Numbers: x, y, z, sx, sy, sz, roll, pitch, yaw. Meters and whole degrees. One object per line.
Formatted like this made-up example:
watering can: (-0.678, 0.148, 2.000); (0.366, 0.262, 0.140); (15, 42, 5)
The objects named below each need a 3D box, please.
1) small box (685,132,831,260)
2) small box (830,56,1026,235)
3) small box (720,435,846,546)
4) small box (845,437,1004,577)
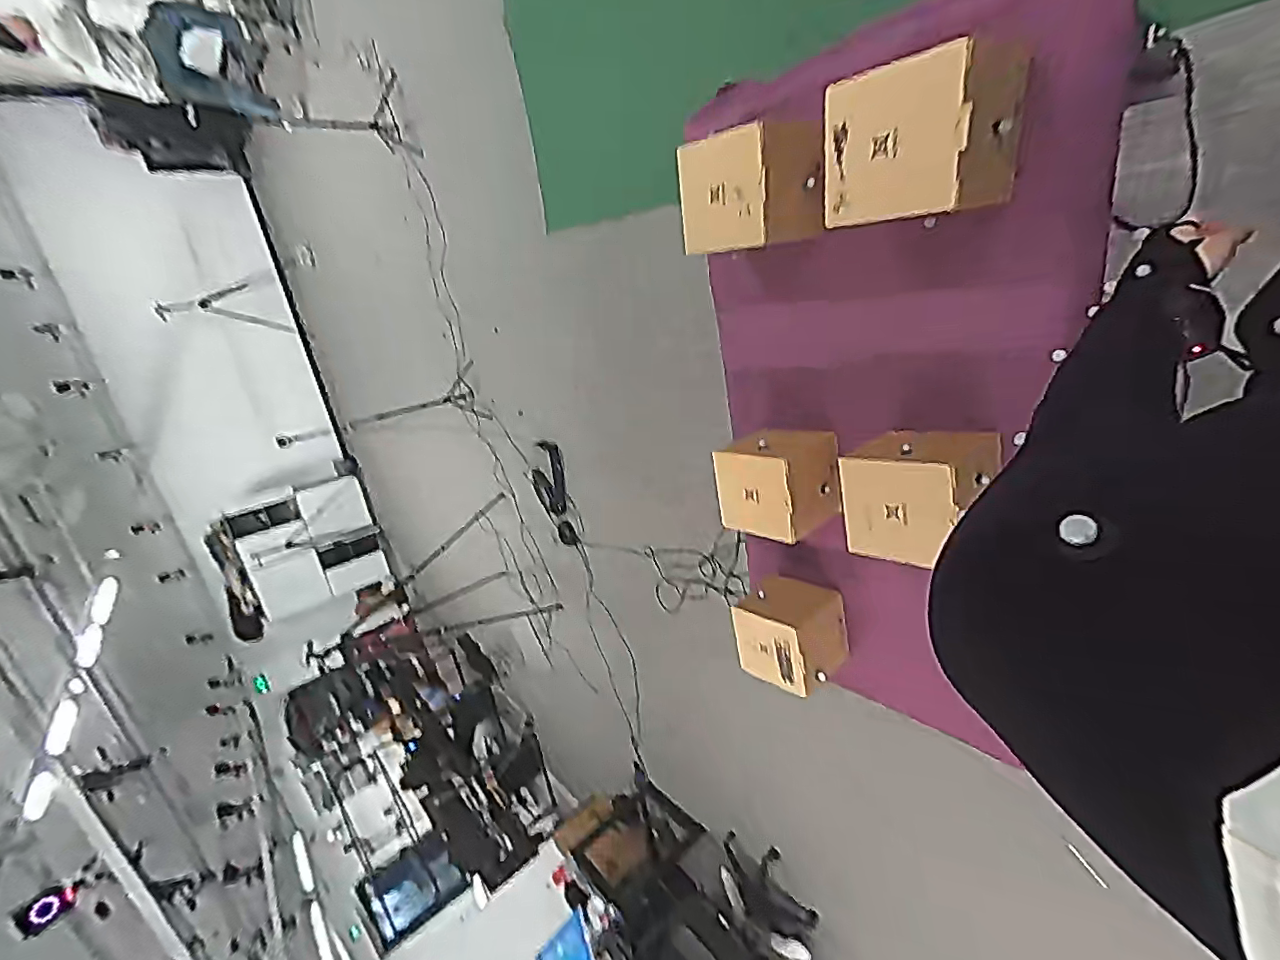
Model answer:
small box: (0.200, -0.475, 0.922); (0.179, 0.176, 0.168); (18, 124, 47)
small box: (0.374, -0.428, 0.712); (0.179, 0.176, 0.168); (20, 125, 48)
small box: (0.288, 0.011, 1.086); (0.179, 0.176, 0.168); (10, 116, 50)
small box: (0.458, 0.031, 0.866); (0.179, 0.176, 0.168); (9, 115, 53)
